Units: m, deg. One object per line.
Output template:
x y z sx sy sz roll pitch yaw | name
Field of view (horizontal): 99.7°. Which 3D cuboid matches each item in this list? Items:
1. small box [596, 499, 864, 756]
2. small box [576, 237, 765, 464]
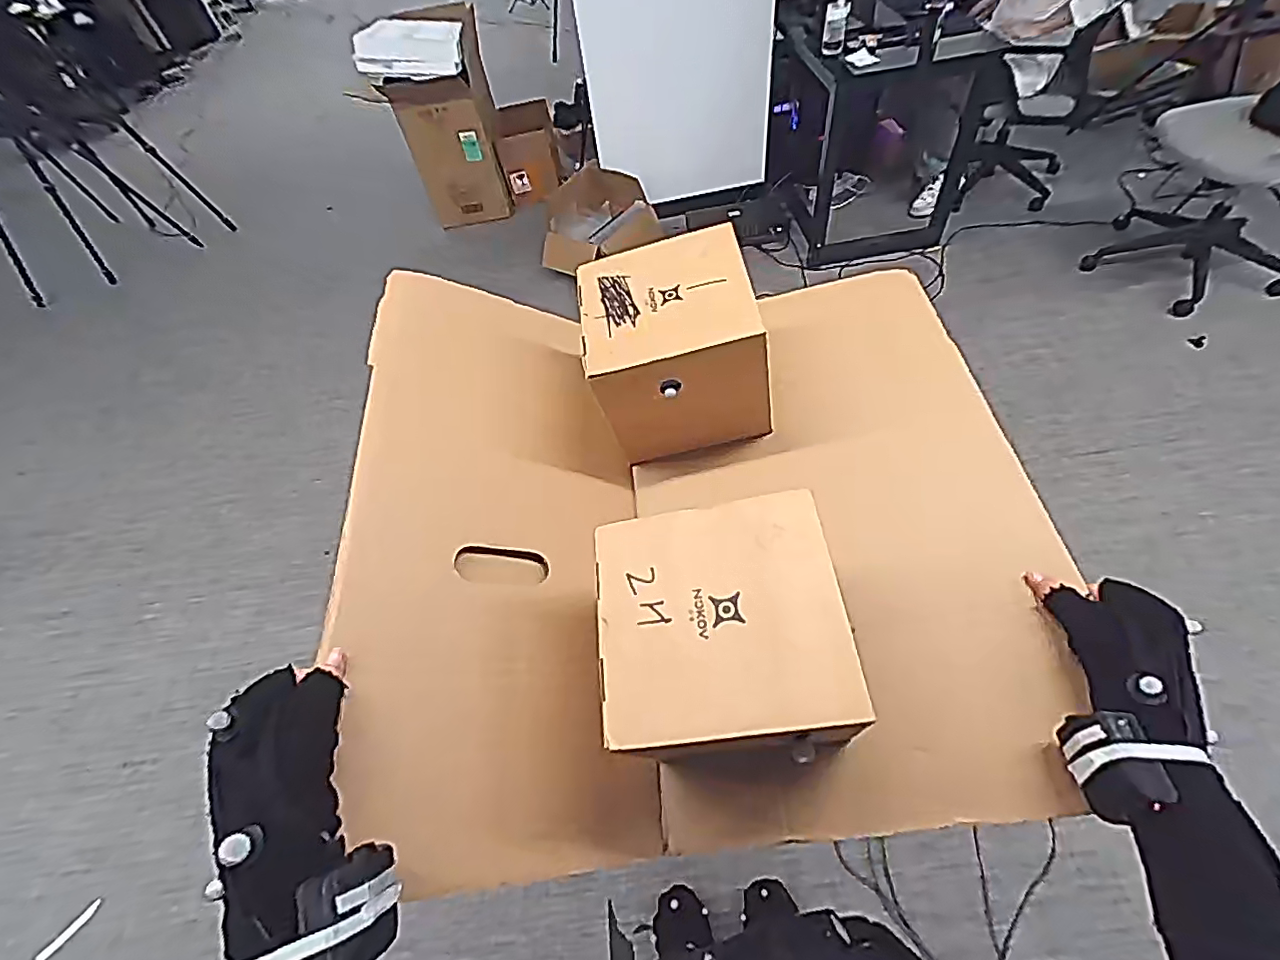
0.072 0.136 0.461 0.179 0.176 0.168 -11 59 11 | small box
0.039 -0.137 0.624 0.179 0.176 0.168 -13 59 8 | small box
